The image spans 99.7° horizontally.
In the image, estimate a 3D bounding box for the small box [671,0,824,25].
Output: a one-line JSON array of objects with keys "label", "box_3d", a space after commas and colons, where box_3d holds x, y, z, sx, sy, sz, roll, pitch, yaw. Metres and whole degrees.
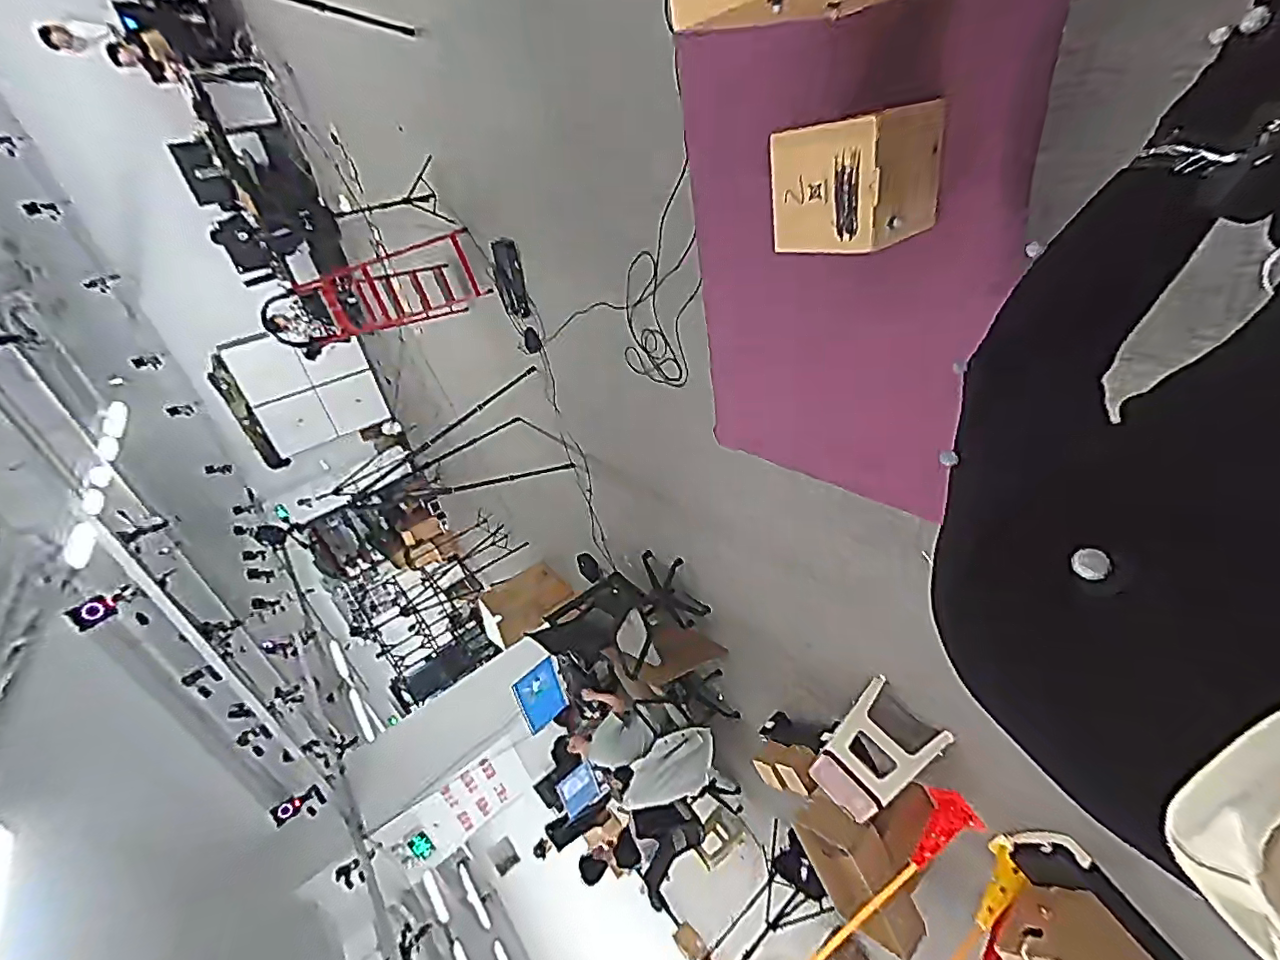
[{"label": "small box", "box_3d": [0.144, -0.622, 0.590, 0.179, 0.176, 0.168, 28, 138, 46]}]

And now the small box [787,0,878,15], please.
[{"label": "small box", "box_3d": [0.271, -0.695, 0.661, 0.179, 0.176, 0.168, 28, 140, 46]}]
